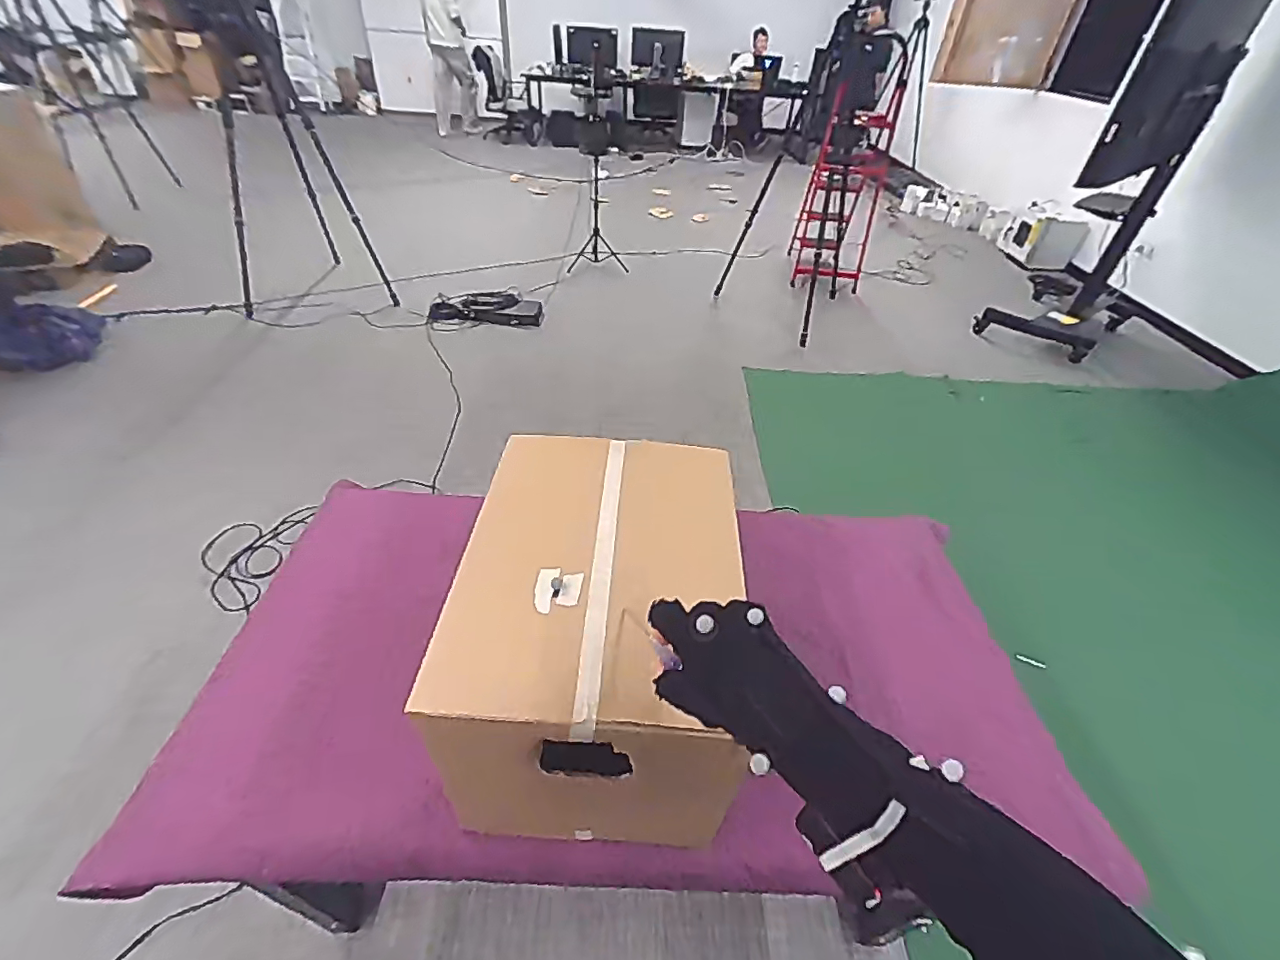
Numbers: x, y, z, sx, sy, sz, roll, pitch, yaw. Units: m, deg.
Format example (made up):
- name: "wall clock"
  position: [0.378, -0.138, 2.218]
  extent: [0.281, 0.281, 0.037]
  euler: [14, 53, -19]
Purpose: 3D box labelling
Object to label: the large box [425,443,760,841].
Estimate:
- name: "large box"
  position: [-0.048, 0.202, 0.730]
  extent: [0.320, 0.320, 0.408]
  euler: [5, 42, 0]
